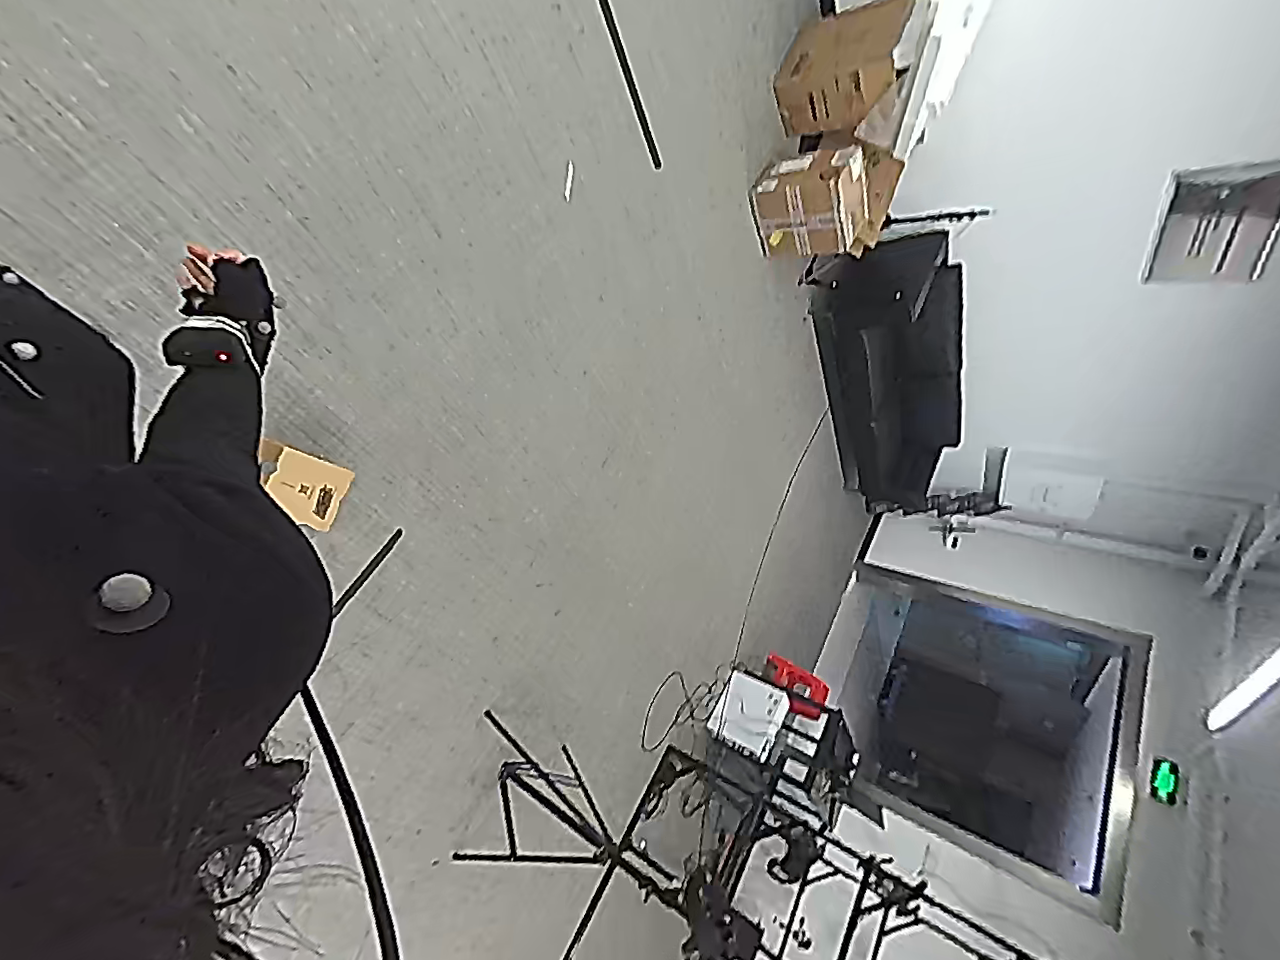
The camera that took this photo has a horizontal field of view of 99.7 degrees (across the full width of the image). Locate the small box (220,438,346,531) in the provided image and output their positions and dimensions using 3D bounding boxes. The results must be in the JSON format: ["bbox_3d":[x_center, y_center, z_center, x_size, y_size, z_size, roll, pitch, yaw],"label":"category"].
[{"bbox_3d":[-0.874,0.009,1.324,0.179,0.176,0.168,34,73,-52],"label":"small box"}]
